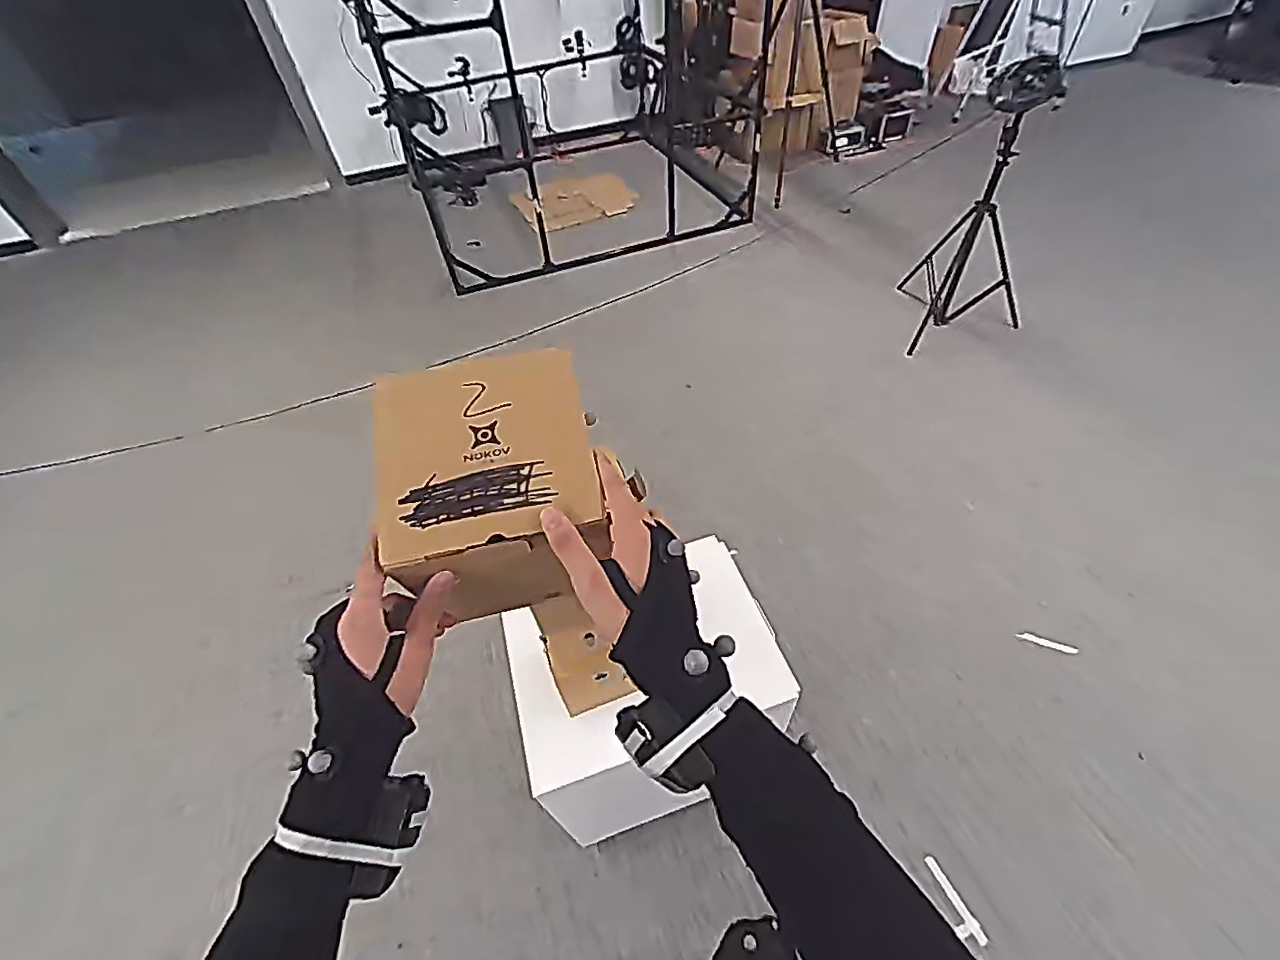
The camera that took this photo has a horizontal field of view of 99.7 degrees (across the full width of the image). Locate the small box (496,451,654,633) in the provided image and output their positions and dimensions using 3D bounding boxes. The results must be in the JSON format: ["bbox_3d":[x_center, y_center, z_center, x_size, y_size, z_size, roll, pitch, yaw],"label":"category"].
[{"bbox_3d":[-0.088,0.091,0.770,0.179,0.176,0.168,-17,49,-11],"label":"small box"}]

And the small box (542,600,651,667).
[{"bbox_3d":[-0.085,0.189,0.904,0.168,0.176,0.179,-17,48,-10],"label":"small box"}]

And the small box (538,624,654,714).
[{"bbox_3d":[-0.082,0.310,1.013,0.179,0.176,0.168,-17,49,-12],"label":"small box"}]
